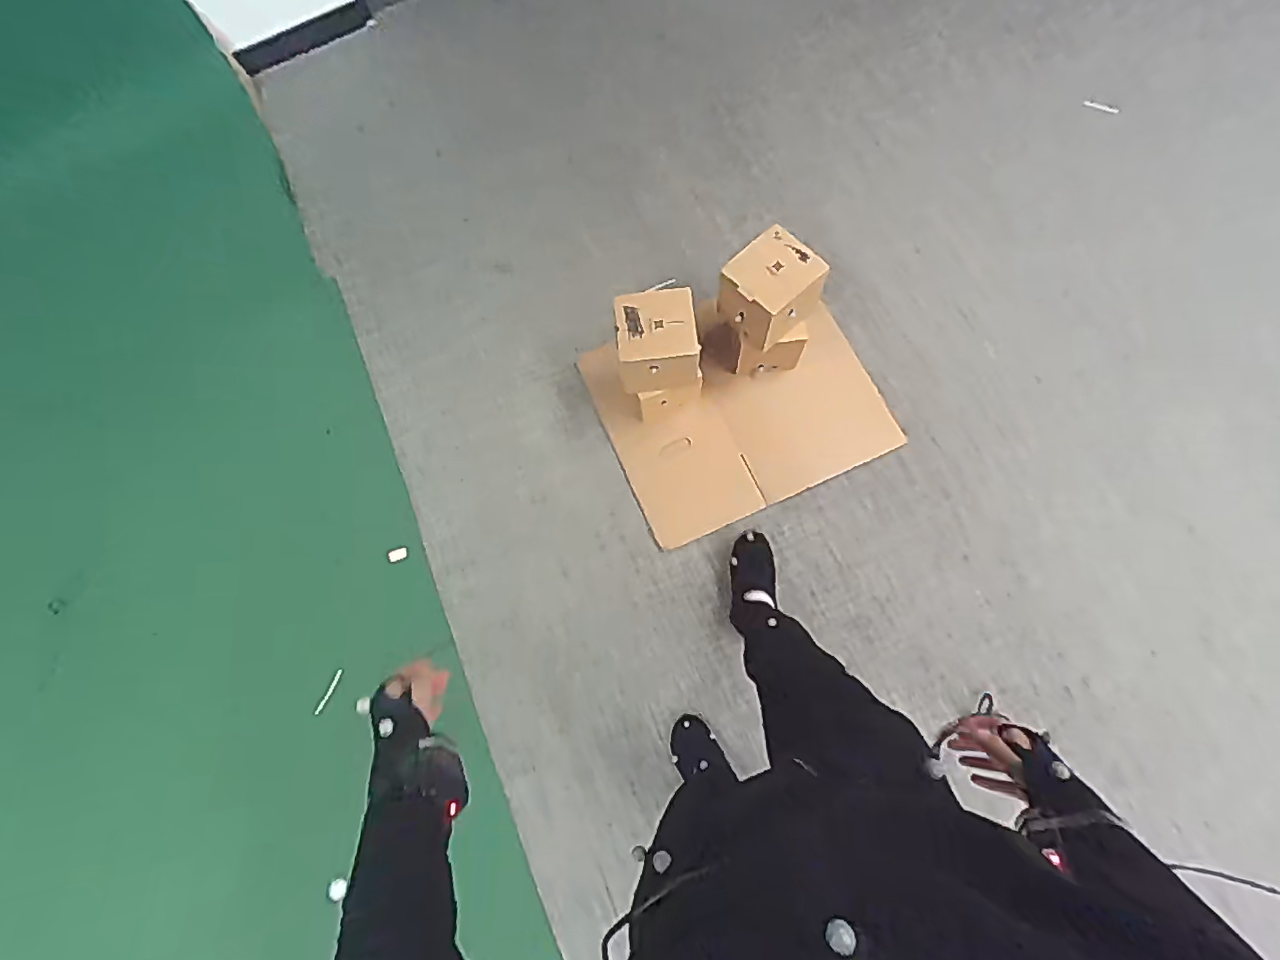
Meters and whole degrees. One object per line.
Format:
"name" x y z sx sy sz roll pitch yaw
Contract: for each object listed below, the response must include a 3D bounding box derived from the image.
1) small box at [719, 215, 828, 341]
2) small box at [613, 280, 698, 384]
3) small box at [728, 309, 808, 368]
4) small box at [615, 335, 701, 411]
"small box" 0.299 -0.455 1.248 0.179 0.176 0.168 -41 76 -5
"small box" 0.039 -0.332 1.243 0.179 0.176 0.168 -6 76 2
"small box" 0.325 -0.413 1.405 0.168 0.176 0.179 -6 76 4
"small box" 0.051 -0.296 1.403 0.168 0.176 0.179 -23 75 -1
